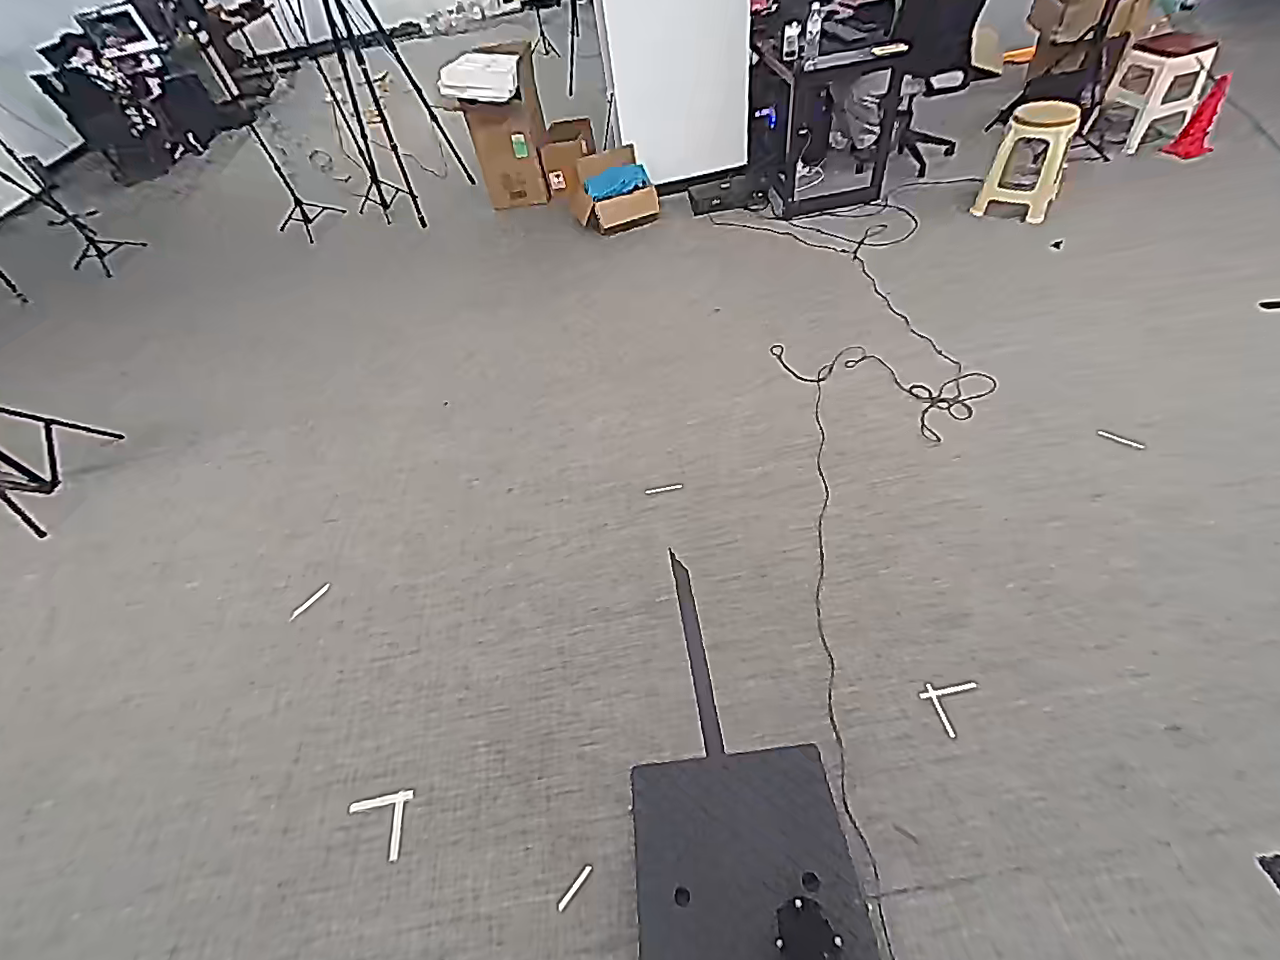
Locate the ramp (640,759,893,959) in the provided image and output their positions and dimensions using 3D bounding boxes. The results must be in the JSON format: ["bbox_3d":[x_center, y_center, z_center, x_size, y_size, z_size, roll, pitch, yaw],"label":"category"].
[{"bbox_3d":[0.273,1.065,1.014,0.509,0.206,0.991,-12,47,2],"label":"ramp"}]
